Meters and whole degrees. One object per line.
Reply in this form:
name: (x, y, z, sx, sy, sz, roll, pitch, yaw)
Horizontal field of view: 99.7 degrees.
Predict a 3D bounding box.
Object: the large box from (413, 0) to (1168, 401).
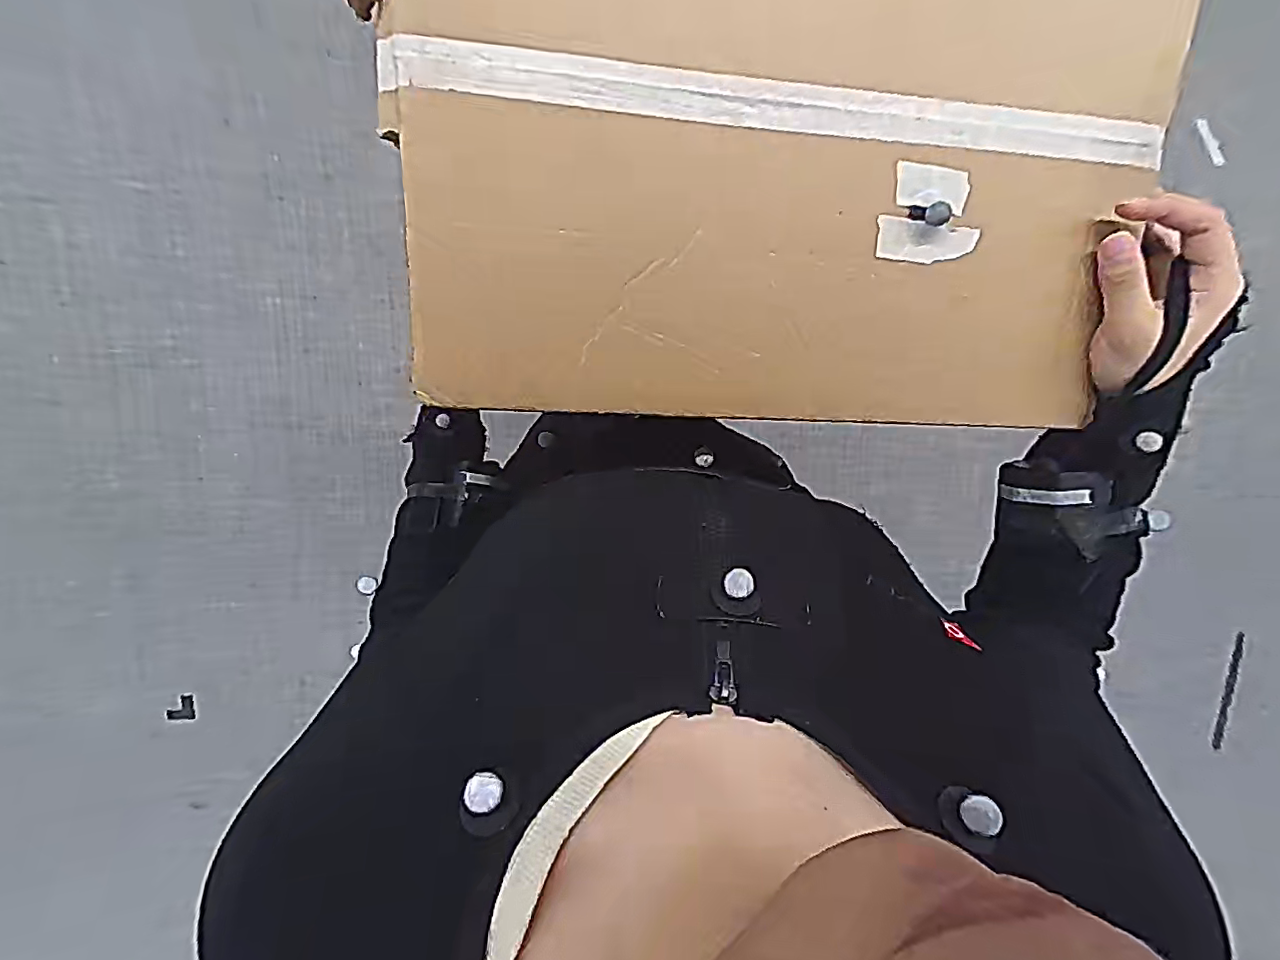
large box: (0.065, -0.234, 0.425, 0.408, 0.320, 0.320, 1, 105, -10)
